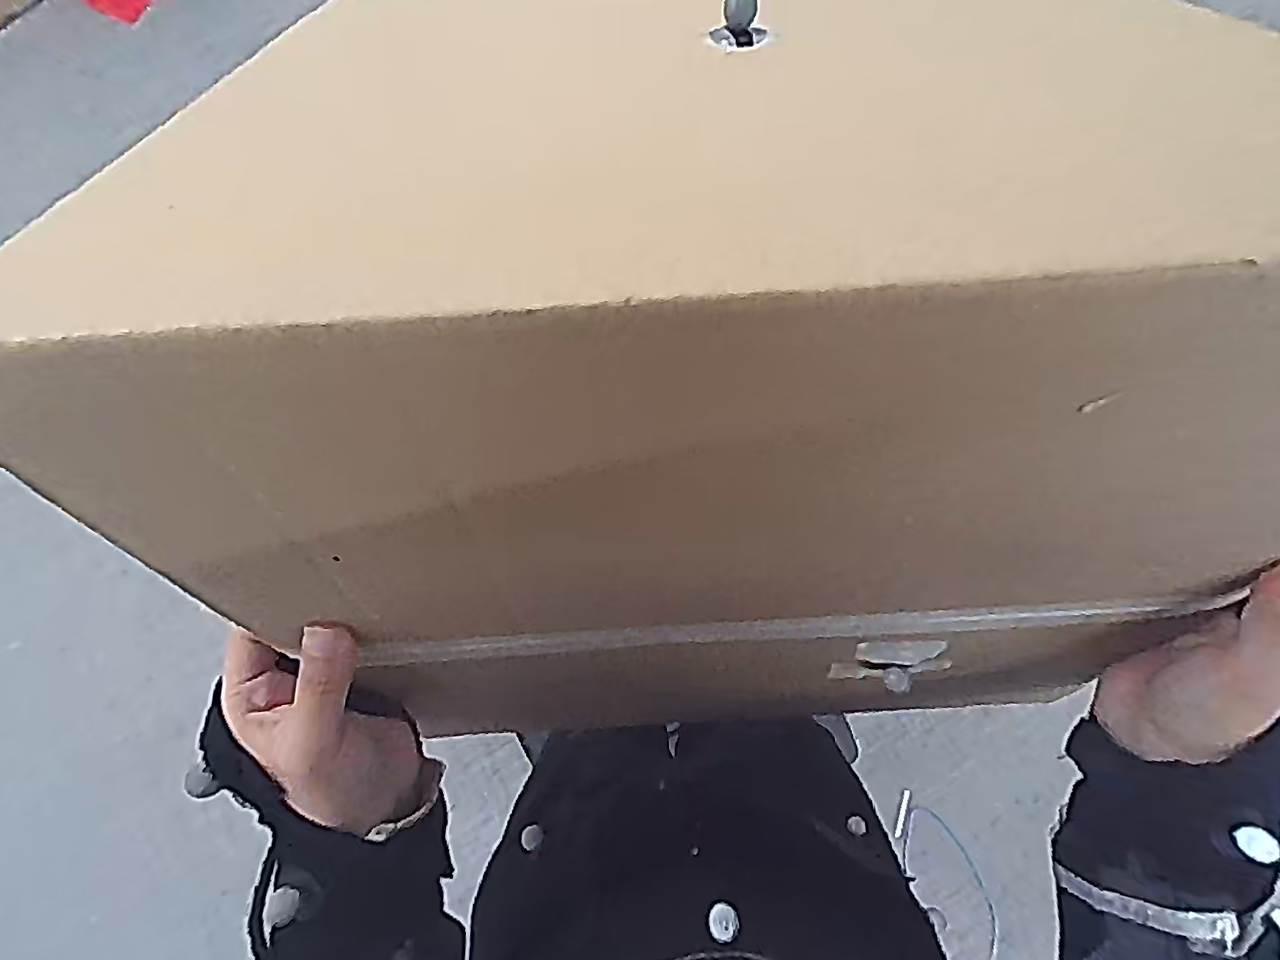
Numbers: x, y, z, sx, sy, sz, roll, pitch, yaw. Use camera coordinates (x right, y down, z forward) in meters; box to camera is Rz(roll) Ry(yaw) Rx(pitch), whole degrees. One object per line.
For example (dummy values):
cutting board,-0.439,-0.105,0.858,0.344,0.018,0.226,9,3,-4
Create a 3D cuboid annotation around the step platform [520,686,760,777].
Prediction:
step platform,0.057,0.407,1.270,0.684,0.204,0.286,-24,80,-5
